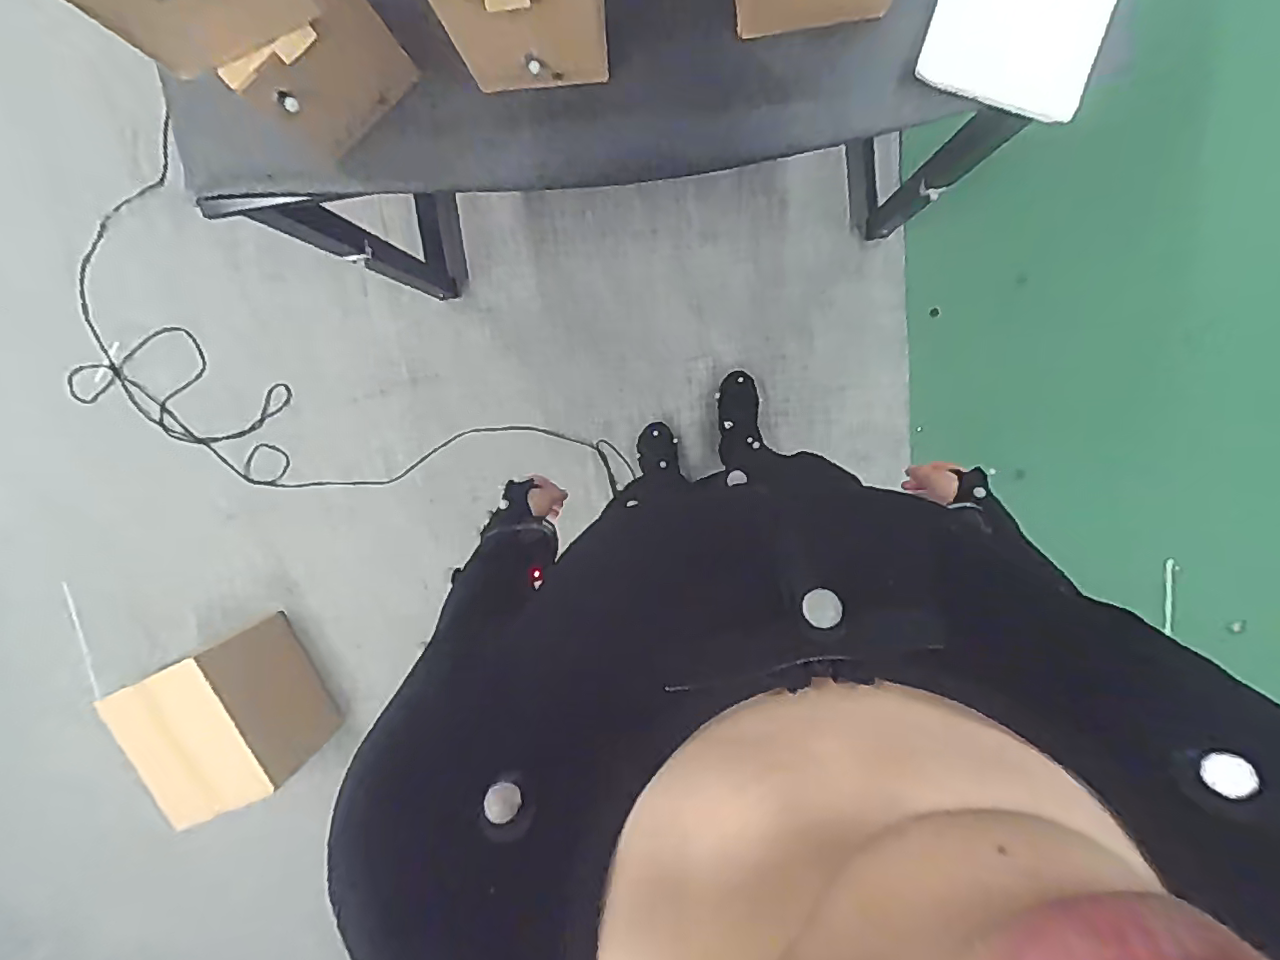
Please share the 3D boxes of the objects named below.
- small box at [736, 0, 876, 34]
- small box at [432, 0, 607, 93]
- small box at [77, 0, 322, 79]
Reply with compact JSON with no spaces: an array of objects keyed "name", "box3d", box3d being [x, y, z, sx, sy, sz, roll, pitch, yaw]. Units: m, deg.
[{"name":"small box","box3d":[0.194,-0.625,0.571,0.179,0.176,0.168,-6,97,6]},{"name":"small box","box3d":[-0.132,-0.577,0.601,0.168,0.176,0.179,-3,97,6]},{"name":"small box","box3d":[-0.423,-0.502,0.467,0.179,0.176,0.168,-20,95,8]}]
